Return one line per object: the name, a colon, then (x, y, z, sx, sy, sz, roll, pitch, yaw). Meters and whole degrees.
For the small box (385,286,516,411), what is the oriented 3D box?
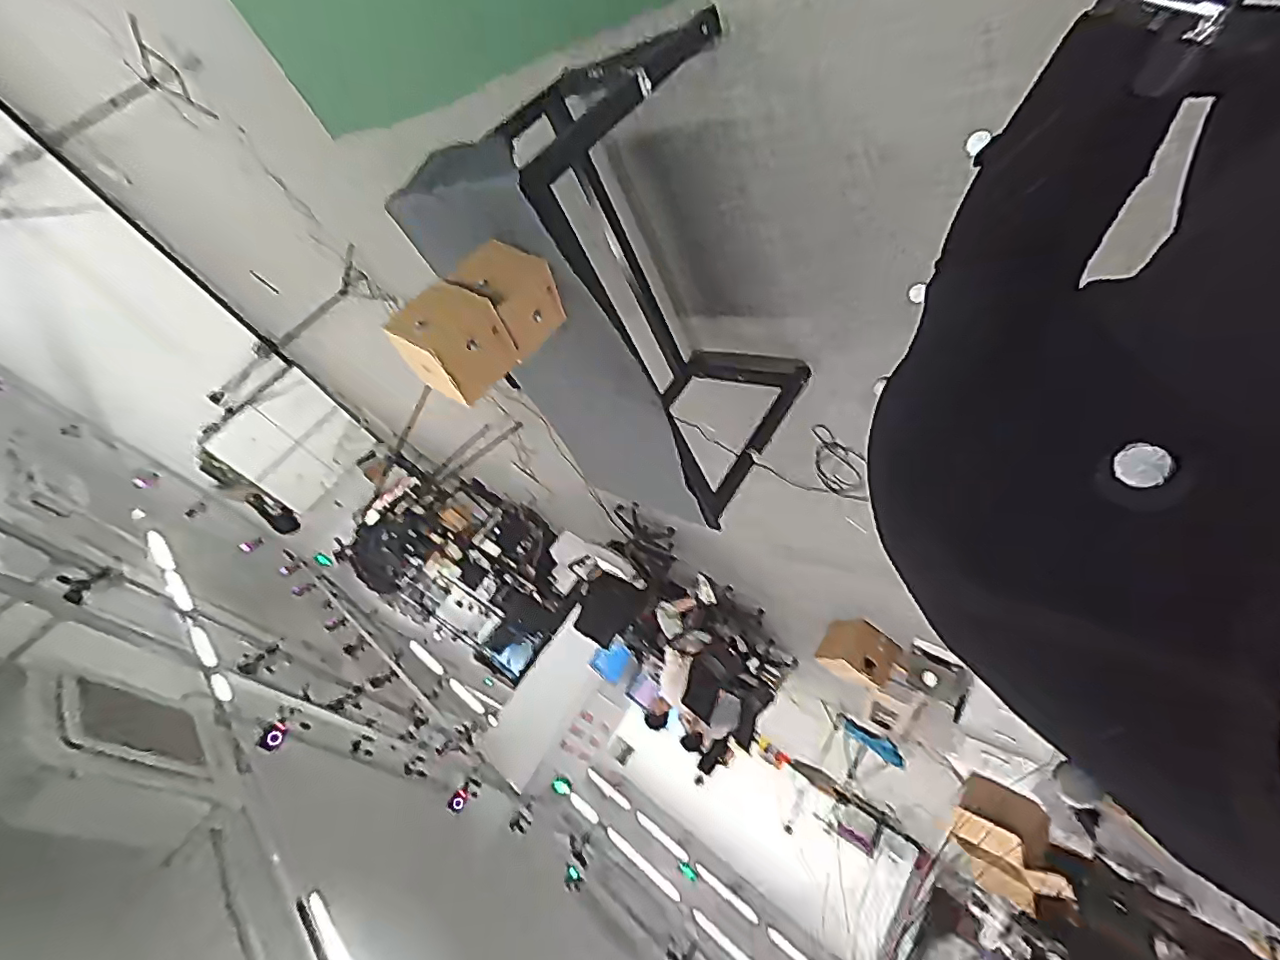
small box: (-0.389, -0.284, 1.152, 0.179, 0.176, 0.168, 28, 157, 27)

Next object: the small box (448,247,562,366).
small box: (-0.296, -0.397, 1.226, 0.179, 0.176, 0.168, 30, 159, 23)
